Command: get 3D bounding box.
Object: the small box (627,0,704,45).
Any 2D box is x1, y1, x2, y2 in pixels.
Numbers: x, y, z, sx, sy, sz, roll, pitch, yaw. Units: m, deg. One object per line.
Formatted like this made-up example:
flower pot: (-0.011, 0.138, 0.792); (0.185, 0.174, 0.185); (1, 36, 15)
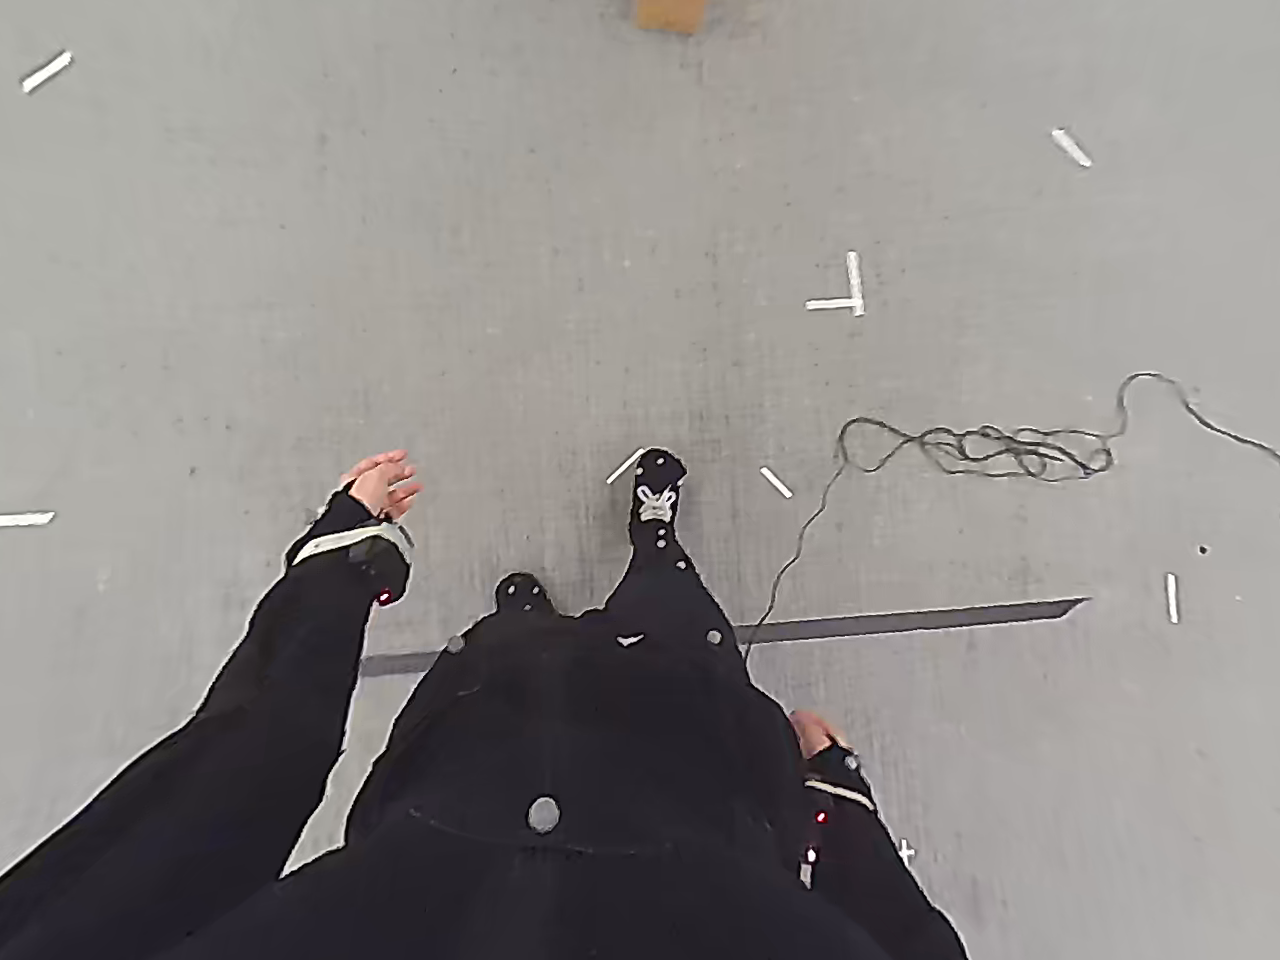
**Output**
small box: (0.067, -1.243, 1.356); (0.179, 0.176, 0.168); (3, 88, -7)
